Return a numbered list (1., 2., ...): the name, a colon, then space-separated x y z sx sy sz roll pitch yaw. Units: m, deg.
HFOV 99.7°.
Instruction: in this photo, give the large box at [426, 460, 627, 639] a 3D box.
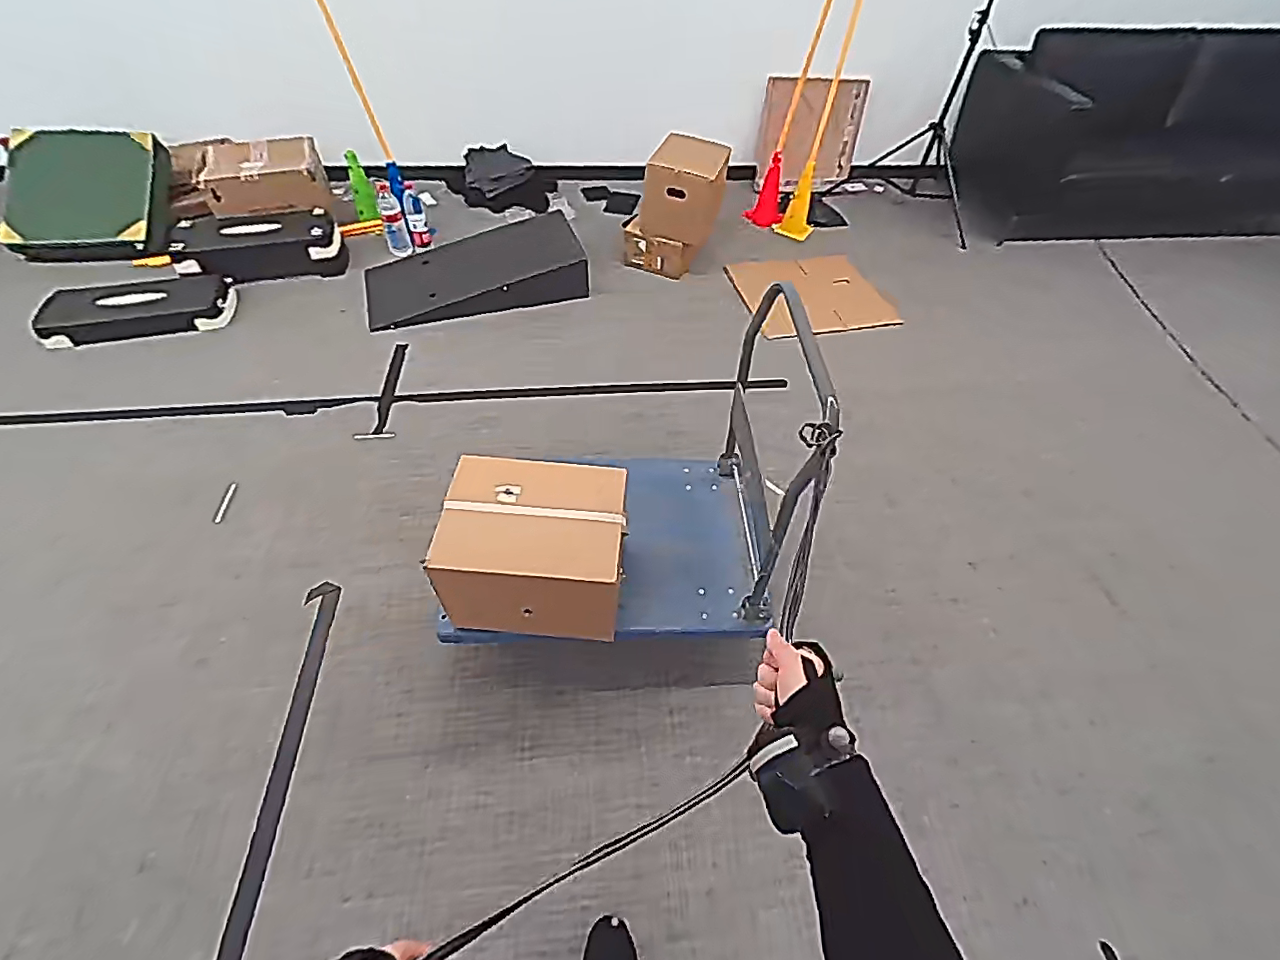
1. large box: -0.240 0.176 1.320 0.408 0.320 0.320 5 50 0
